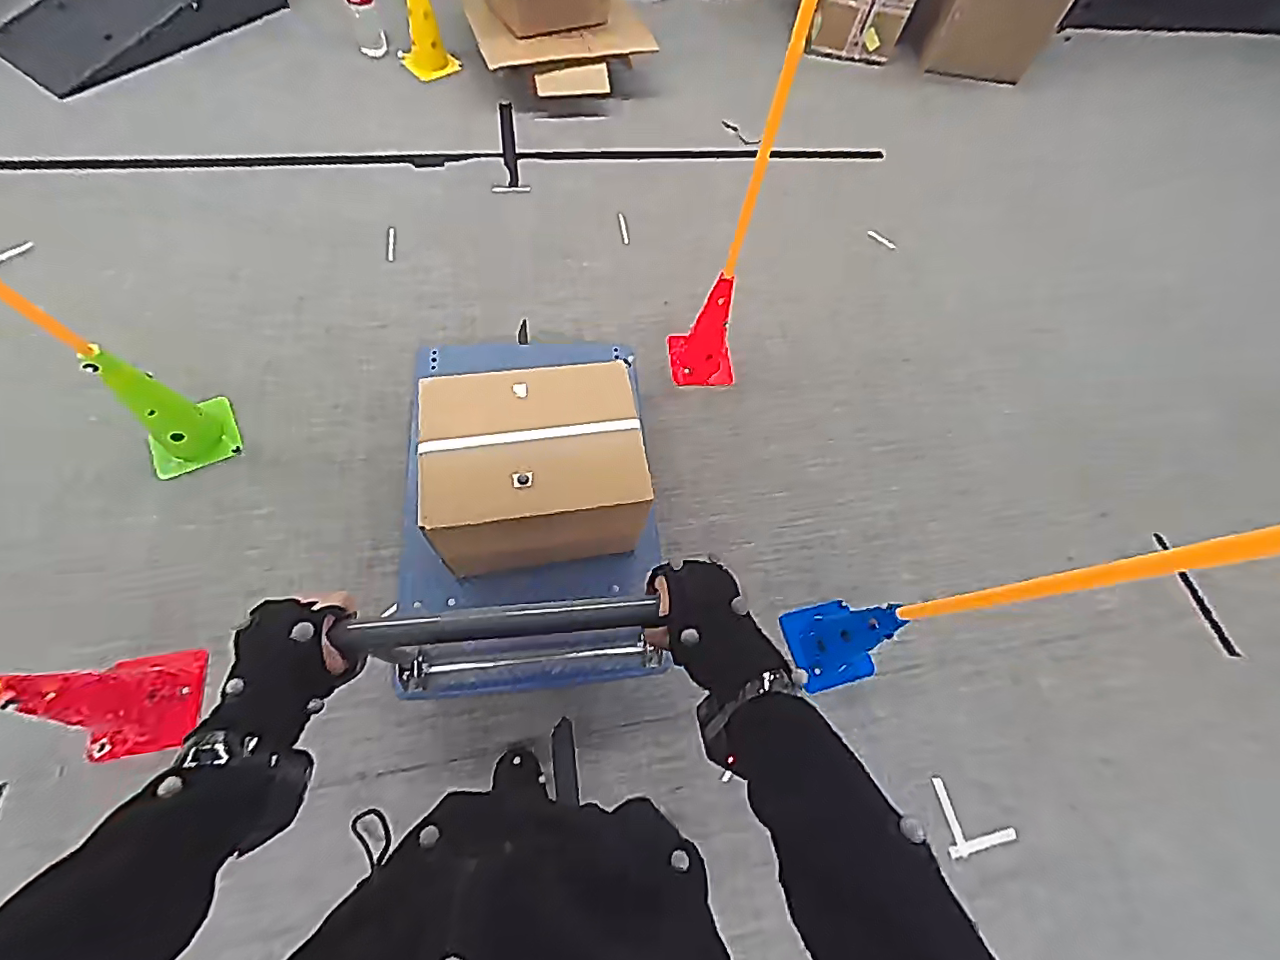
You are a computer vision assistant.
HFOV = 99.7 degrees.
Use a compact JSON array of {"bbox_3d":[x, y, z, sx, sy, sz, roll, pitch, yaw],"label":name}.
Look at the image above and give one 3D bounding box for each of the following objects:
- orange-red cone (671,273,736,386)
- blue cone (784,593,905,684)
[{"bbox_3d":[0.219,-0.458,1.585,0.199,0.360,0.198,0,65,-8],"label":"orange-red cone"},{"bbox_3d":[0.499,0.338,1.243,0.193,0.380,0.192,-10,64,-12],"label":"blue cone"}]
